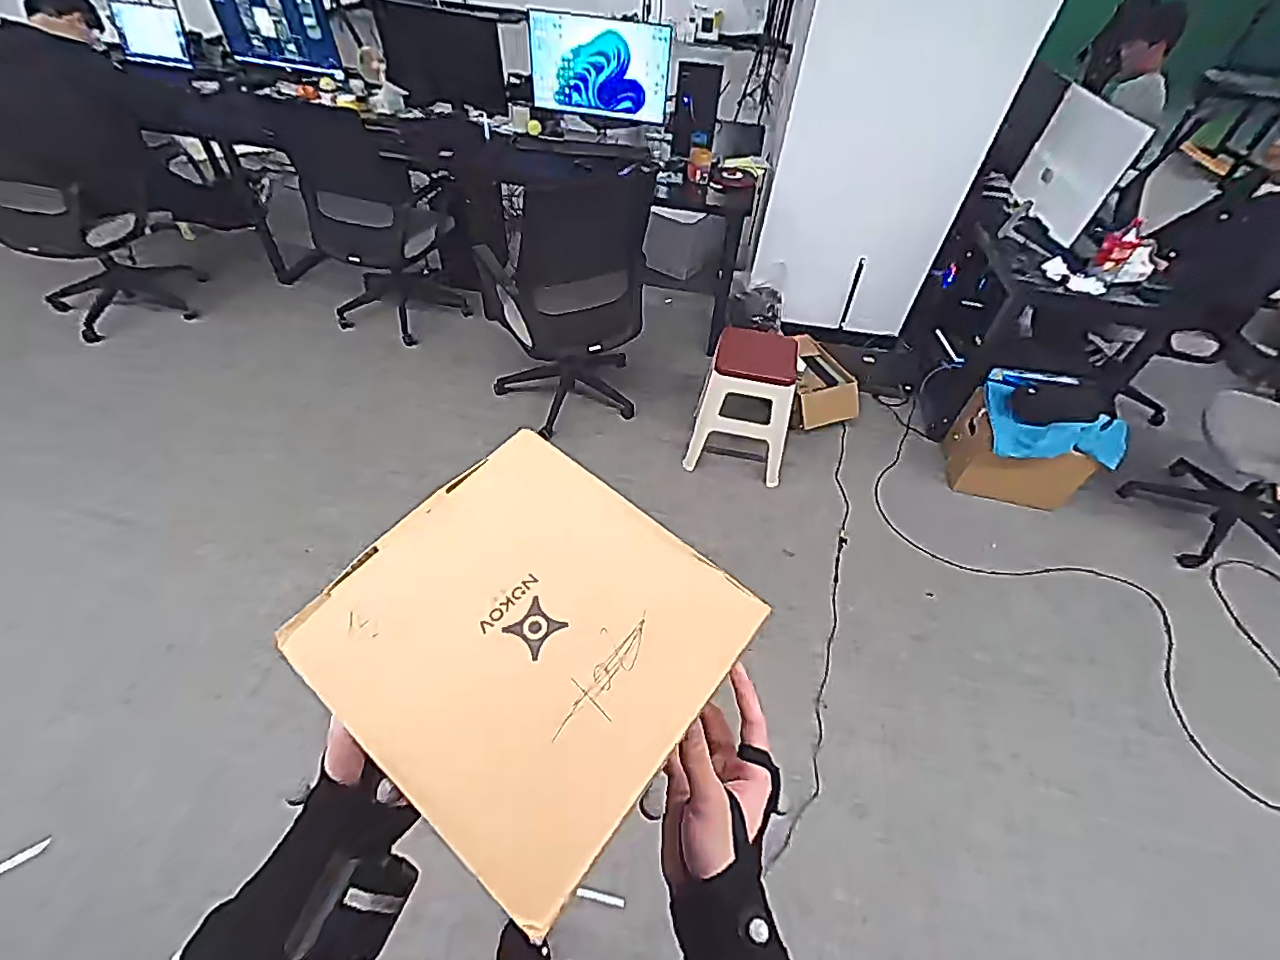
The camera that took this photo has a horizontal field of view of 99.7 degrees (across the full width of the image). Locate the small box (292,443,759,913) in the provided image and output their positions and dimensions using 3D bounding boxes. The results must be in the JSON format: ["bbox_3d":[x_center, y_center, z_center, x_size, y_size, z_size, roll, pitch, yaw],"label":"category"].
[{"bbox_3d":[-0.058,0.117,0.338,0.179,0.176,0.168,35,63,17],"label":"small box"}]
